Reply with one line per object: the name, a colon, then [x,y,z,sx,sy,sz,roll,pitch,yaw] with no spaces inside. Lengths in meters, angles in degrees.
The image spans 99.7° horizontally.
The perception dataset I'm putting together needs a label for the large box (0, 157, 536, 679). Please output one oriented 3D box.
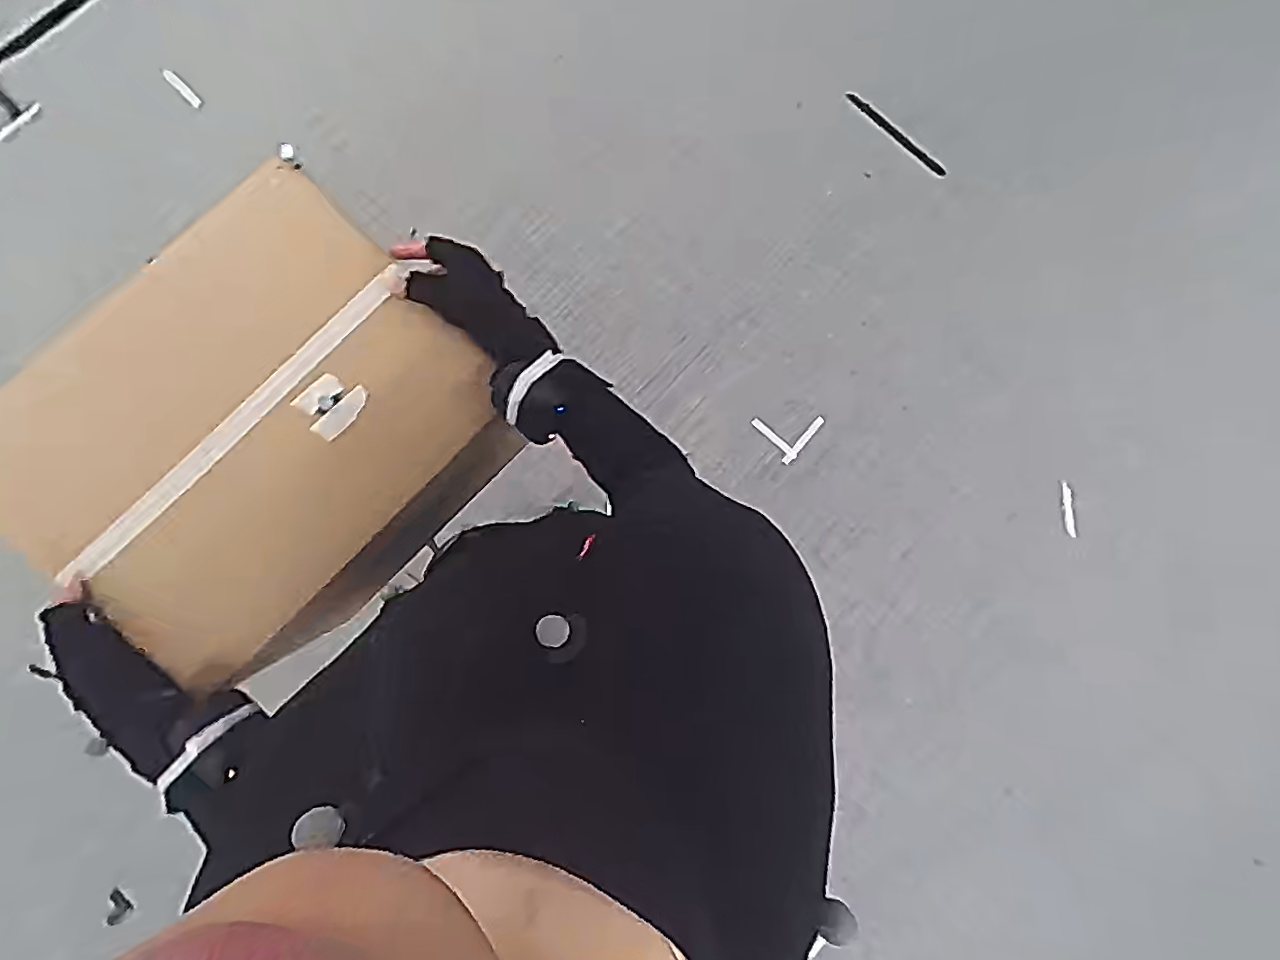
large box: [-0.378,-0.056,0.650,0.320,0.320,0.408,44,83,-5]
